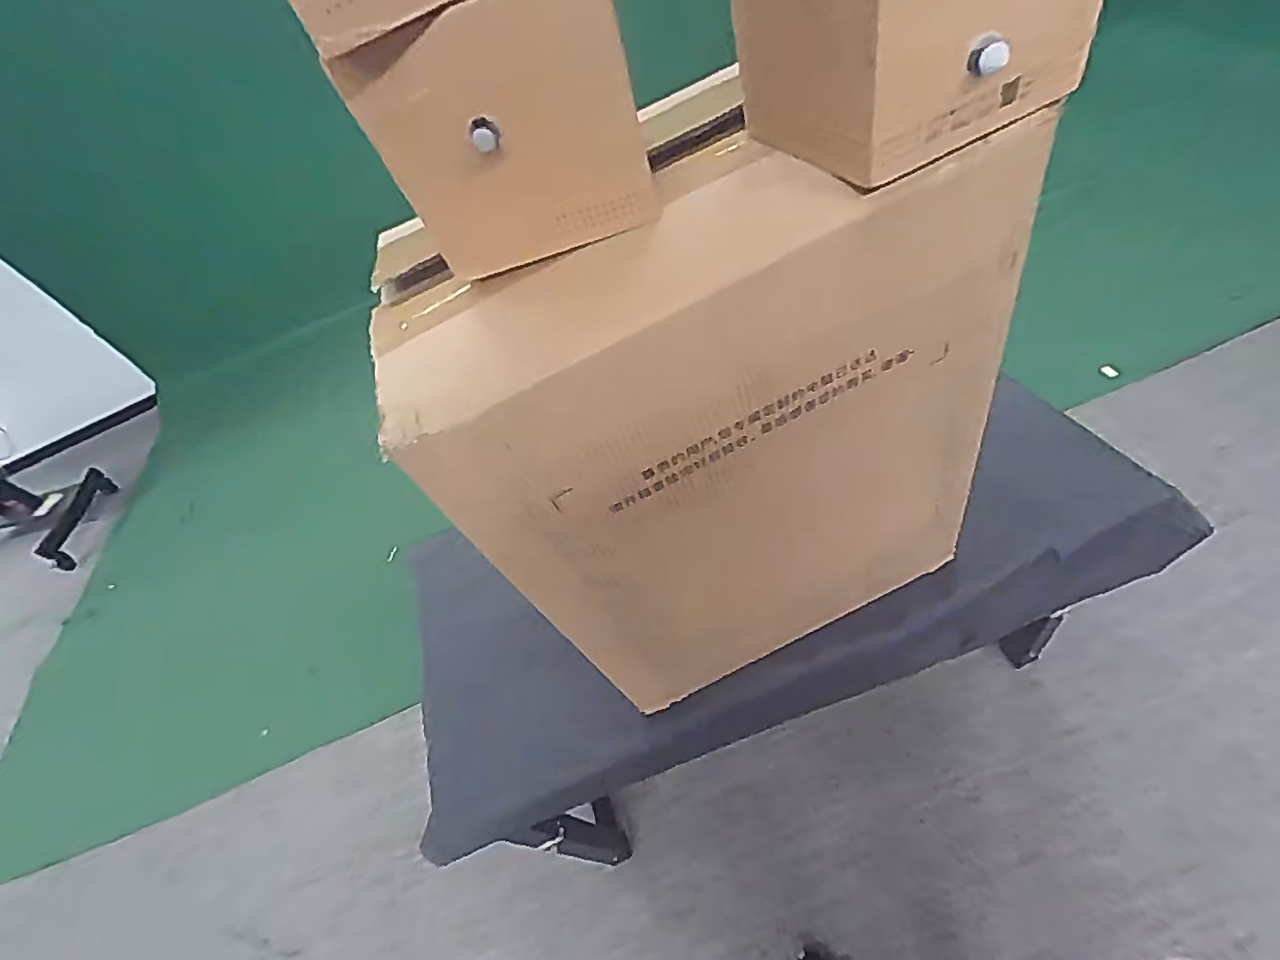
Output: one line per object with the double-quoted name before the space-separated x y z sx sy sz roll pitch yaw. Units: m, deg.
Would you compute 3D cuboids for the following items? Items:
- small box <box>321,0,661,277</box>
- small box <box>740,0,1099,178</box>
"small box" -0.097 -0.289 0.416 0.179 0.176 0.168 -16 57 8
"small box" 0.174 -0.335 0.363 0.168 0.176 0.179 -27 49 -2
